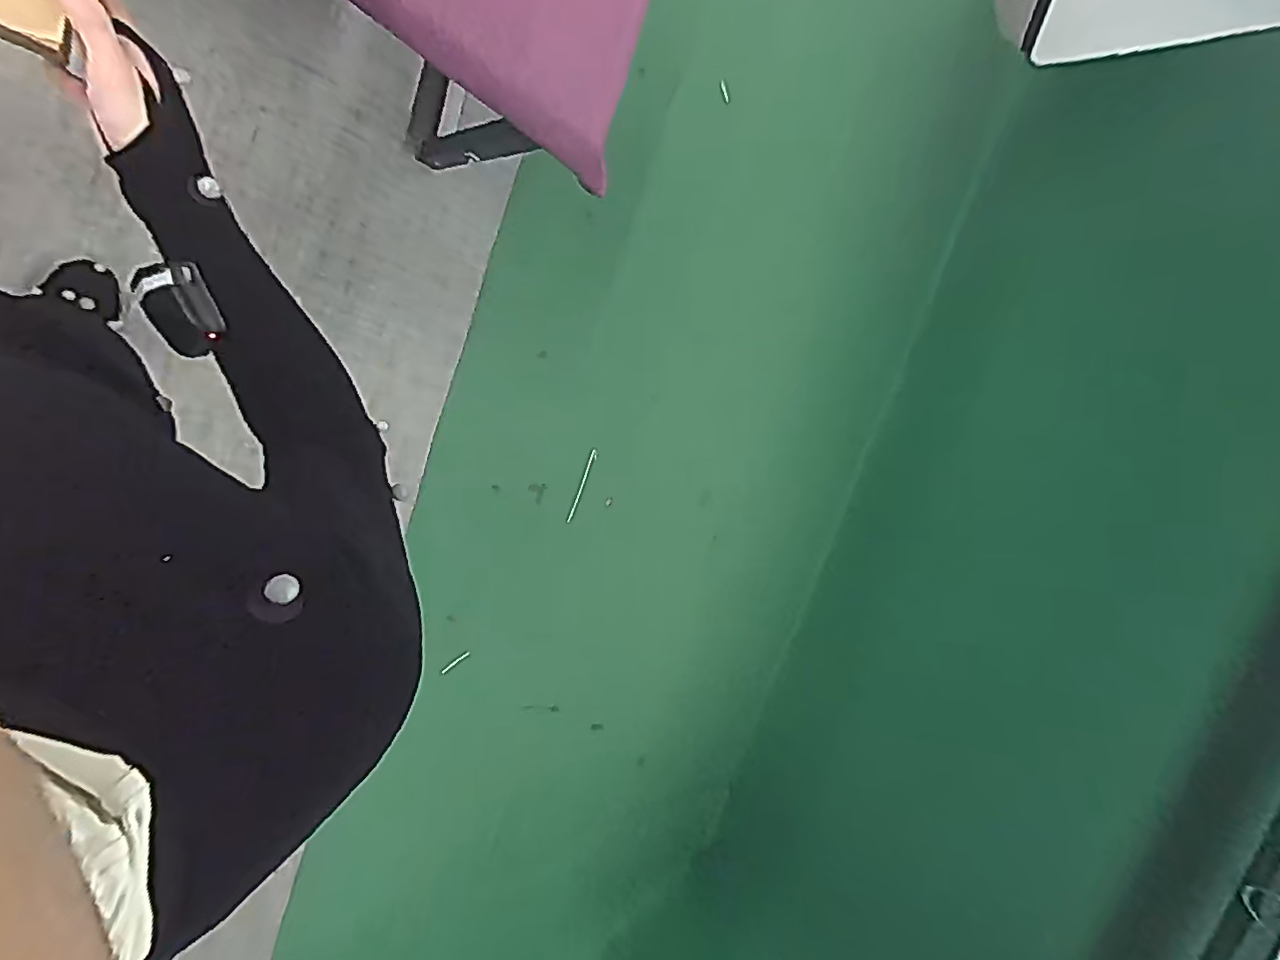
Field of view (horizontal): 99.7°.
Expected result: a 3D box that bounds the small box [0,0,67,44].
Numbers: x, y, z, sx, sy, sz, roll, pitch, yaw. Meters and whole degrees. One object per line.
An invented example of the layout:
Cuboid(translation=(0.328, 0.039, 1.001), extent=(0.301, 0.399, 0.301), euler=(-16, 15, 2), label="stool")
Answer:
Cuboid(translation=(-0.462, -0.415, 0.330), extent=(0.168, 0.176, 0.179), euler=(8, 110, -48), label="small box")
